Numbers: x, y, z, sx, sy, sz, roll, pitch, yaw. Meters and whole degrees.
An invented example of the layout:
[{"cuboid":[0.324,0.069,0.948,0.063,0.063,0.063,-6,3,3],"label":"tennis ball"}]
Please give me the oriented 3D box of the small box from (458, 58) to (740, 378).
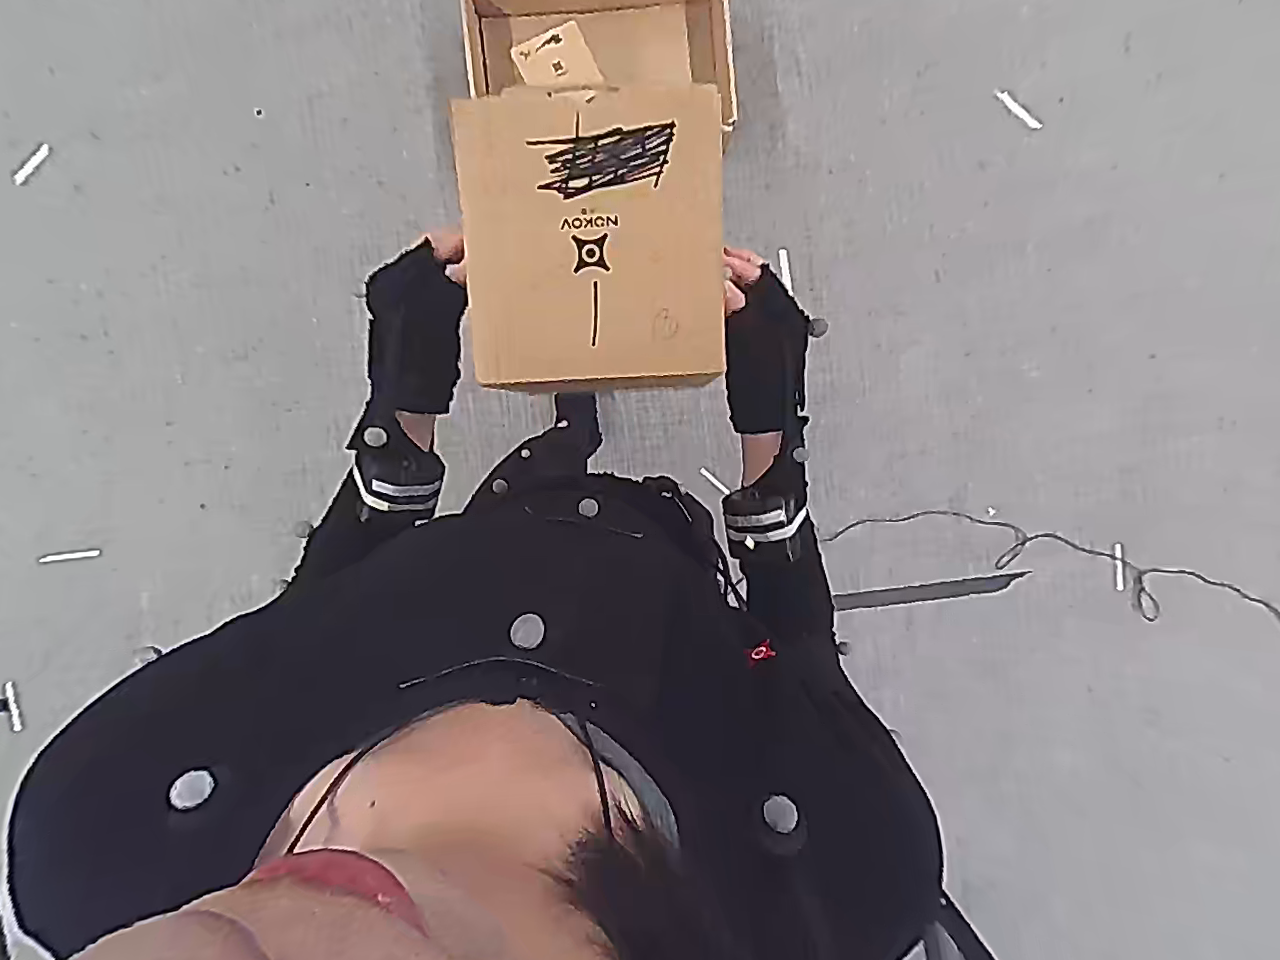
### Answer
[{"cuboid":[-0.021,-0.168,0.403,0.168,0.176,0.179,-2,101,2],"label":"small box"}]
